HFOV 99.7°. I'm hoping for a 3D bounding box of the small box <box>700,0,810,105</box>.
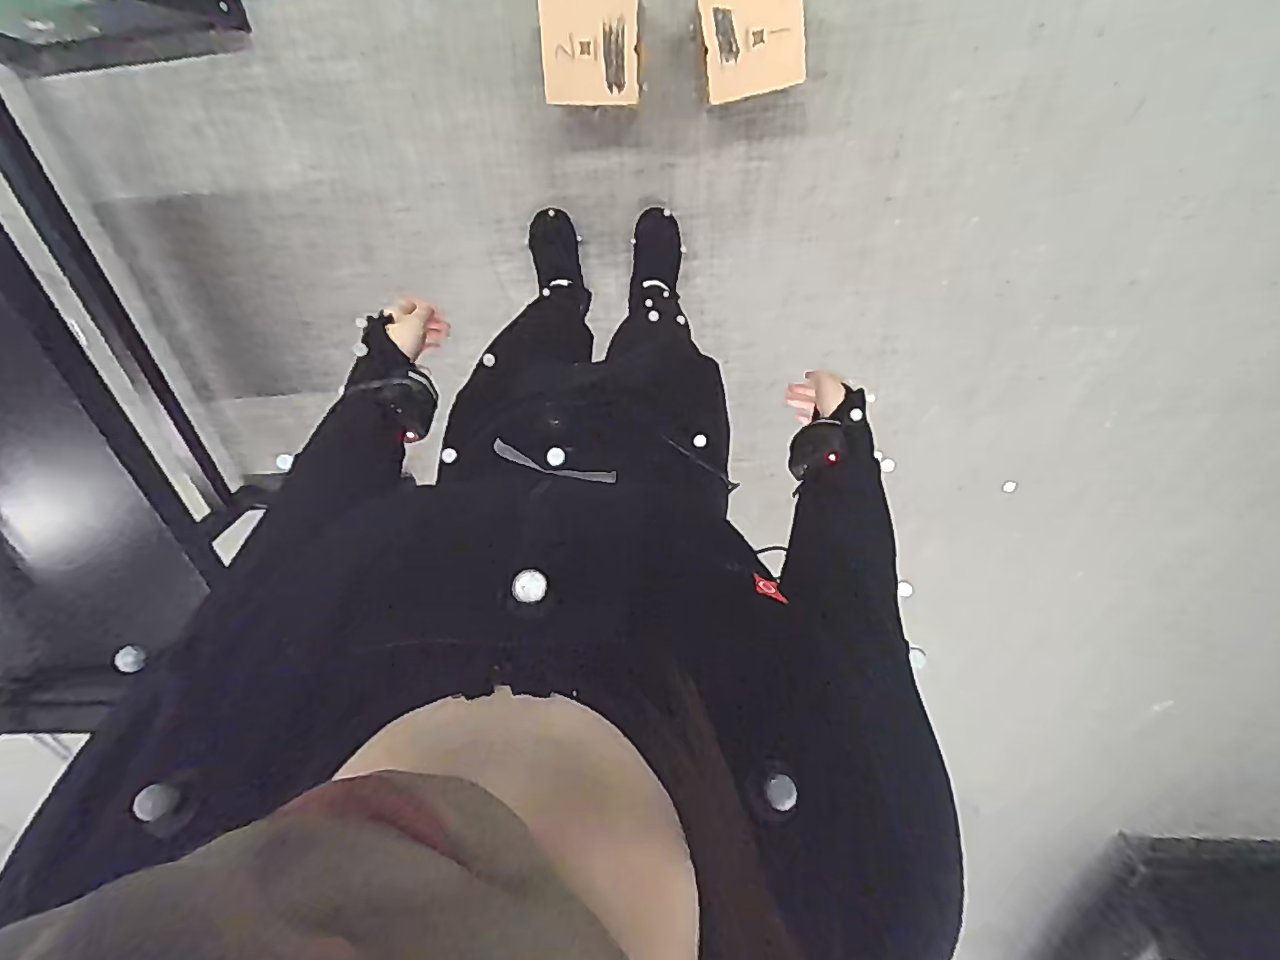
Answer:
[{"bbox_3d":[0.205,-0.804,0.990,0.179,0.176,0.168,-9,123,8],"label":"small box"}]
